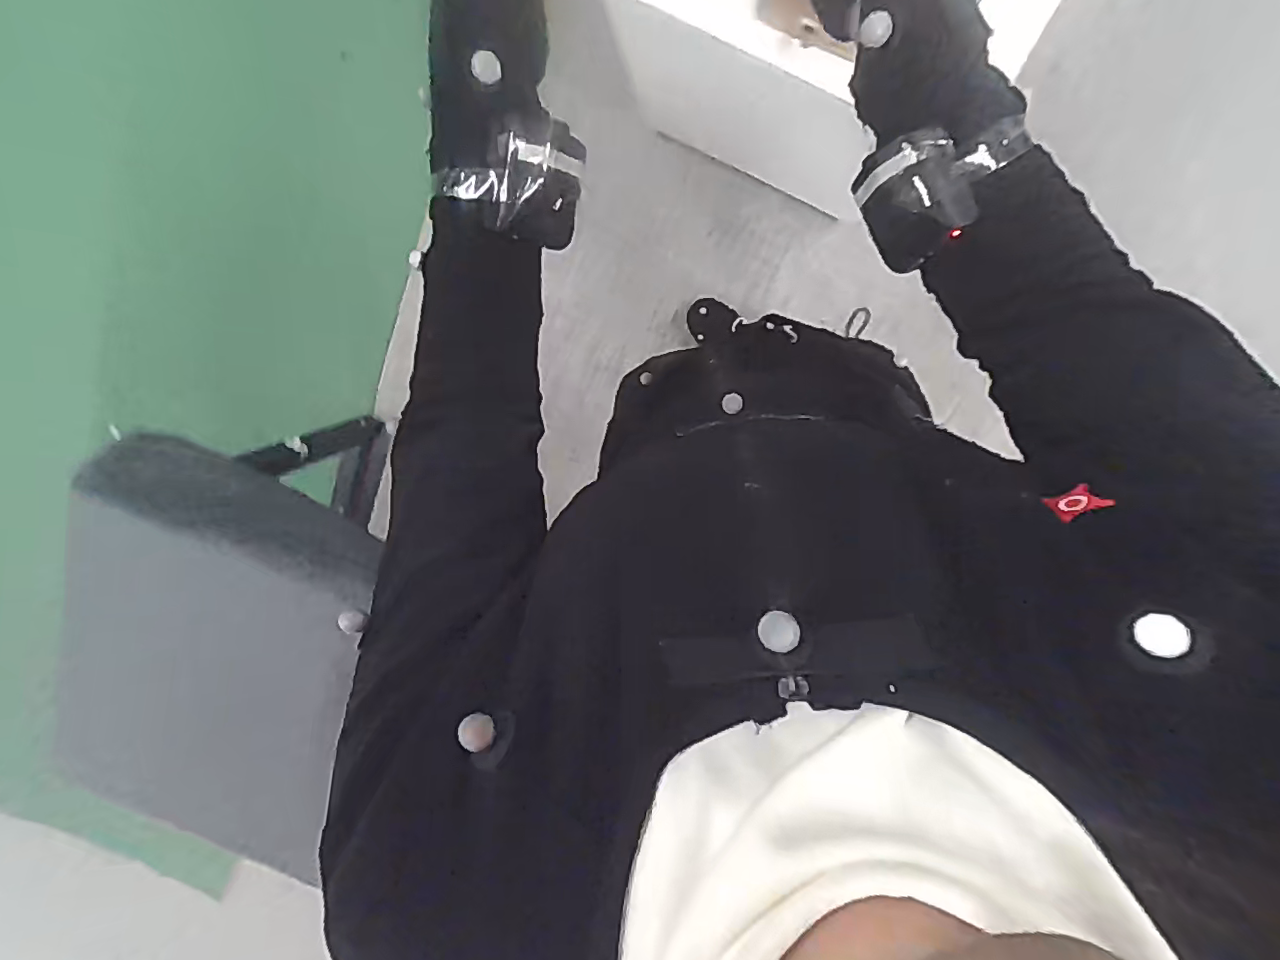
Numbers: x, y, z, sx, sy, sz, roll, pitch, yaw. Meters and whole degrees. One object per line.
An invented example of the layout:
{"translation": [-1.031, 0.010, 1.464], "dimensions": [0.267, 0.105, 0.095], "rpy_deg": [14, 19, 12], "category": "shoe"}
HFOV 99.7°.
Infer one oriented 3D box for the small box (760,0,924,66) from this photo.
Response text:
{"translation": [0.230, -0.574, 0.547], "dimensions": [0.168, 0.176, 0.179], "rpy_deg": [22, 110, 1], "category": "small box"}
